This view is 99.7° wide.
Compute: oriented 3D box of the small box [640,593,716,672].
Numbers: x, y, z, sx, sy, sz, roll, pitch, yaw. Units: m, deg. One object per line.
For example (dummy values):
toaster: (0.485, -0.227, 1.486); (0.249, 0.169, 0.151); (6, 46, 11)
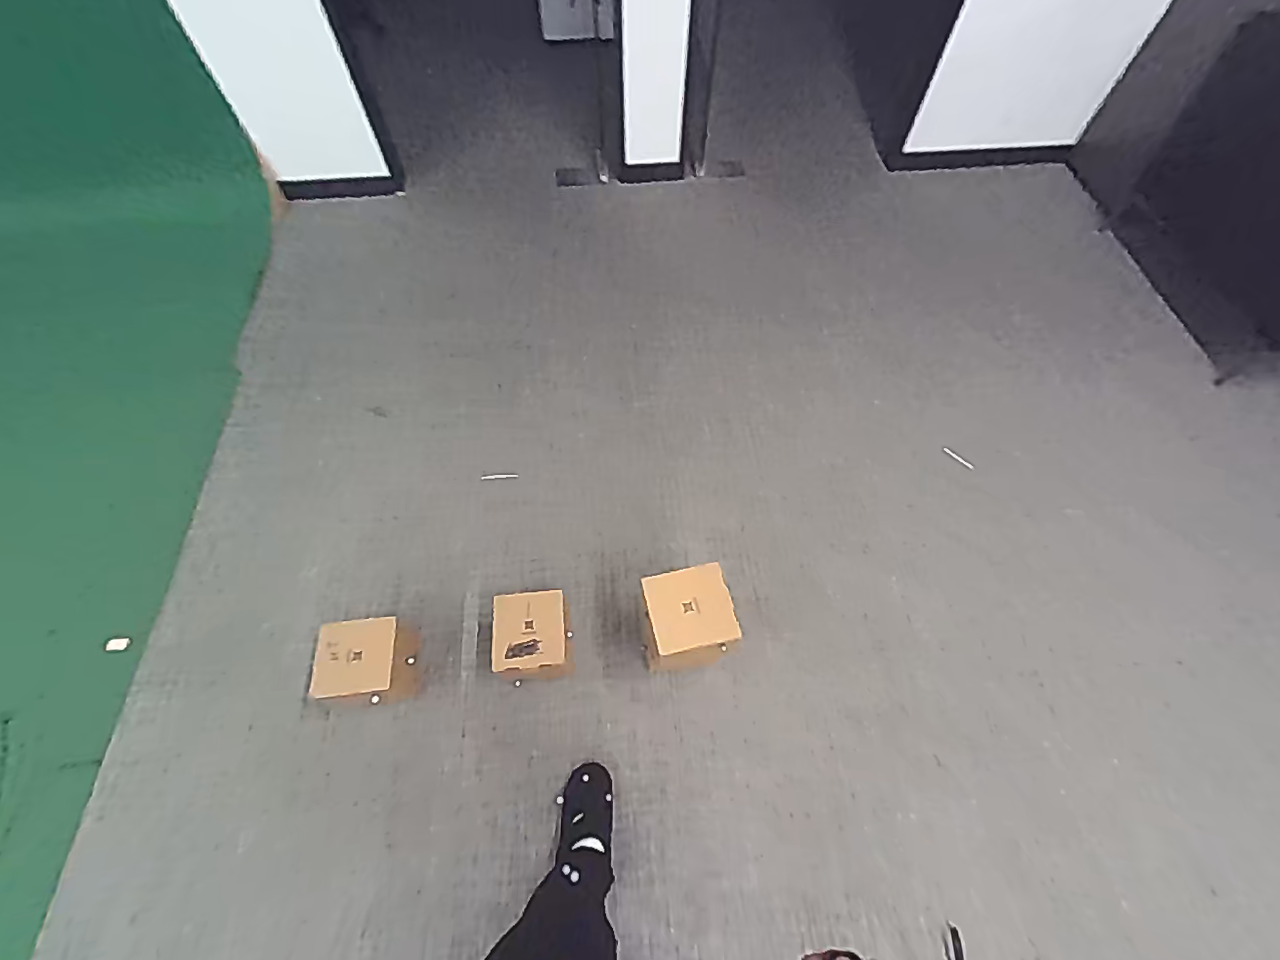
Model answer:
small box: (0.098, 0.371, 1.341); (0.179, 0.176, 0.168); (-7, 62, -4)

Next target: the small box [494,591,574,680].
small box: (-0.256, 0.389, 1.329); (0.168, 0.176, 0.179); (-5, 60, -3)

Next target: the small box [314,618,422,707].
small box: (-0.640, 0.441, 1.300); (0.179, 0.176, 0.168); (-5, 60, -3)

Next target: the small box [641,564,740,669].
small box: (0.103, 0.306, 1.192); (0.179, 0.176, 0.168); (-11, 62, -7)
